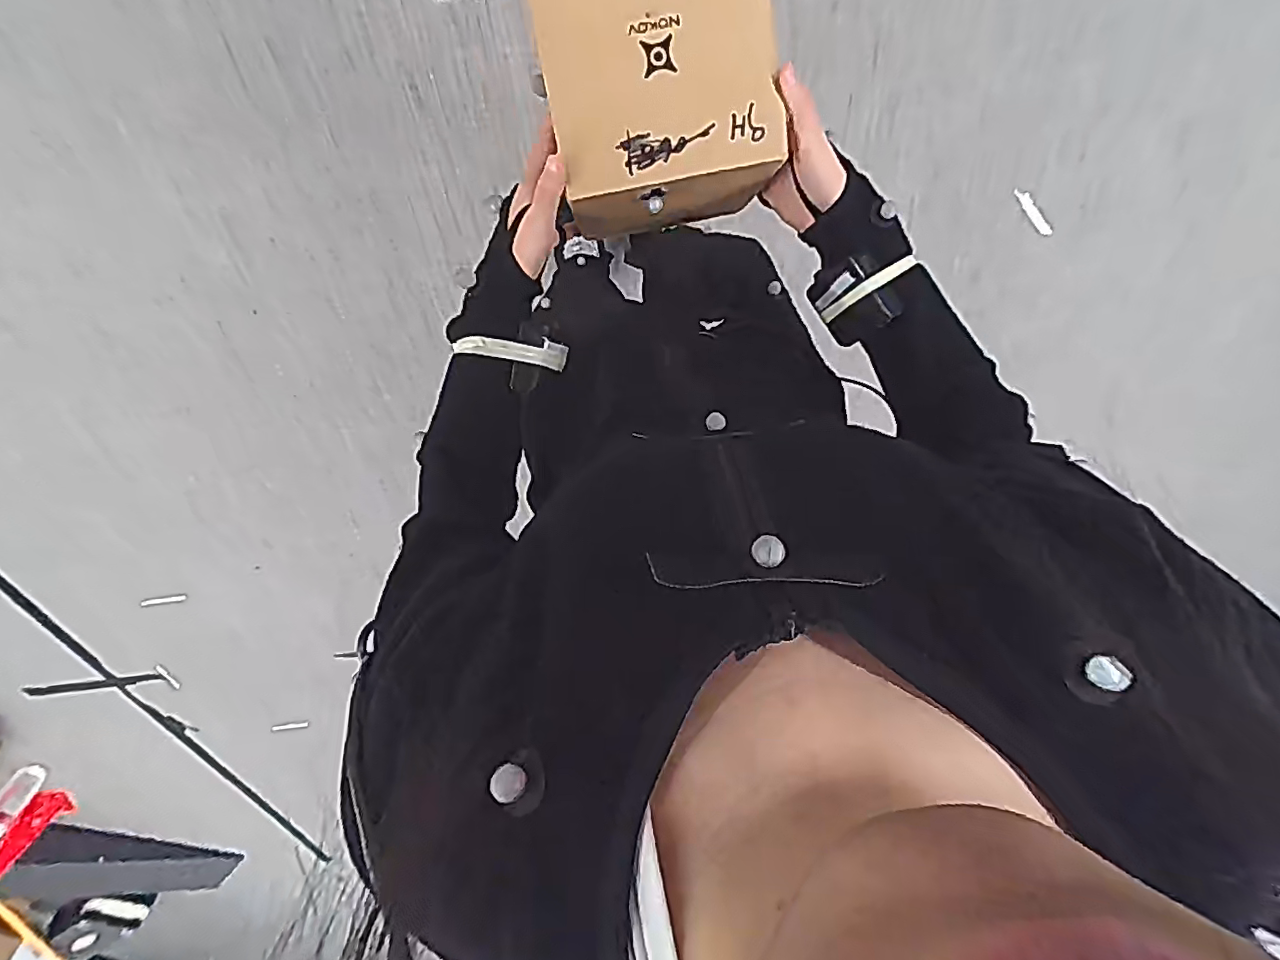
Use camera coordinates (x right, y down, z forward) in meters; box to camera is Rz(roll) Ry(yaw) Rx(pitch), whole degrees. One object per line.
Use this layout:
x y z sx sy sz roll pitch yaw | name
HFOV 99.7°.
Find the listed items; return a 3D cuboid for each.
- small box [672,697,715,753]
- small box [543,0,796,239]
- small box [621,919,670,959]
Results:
0.236 1.087 2.416 0.168 0.176 0.179 -7 127 -1 | small box
0.016 -0.320 0.449 0.168 0.176 0.179 -10 104 1 | small box
0.023 1.694 1.932 0.168 0.176 0.179 -6 128 0 | small box
